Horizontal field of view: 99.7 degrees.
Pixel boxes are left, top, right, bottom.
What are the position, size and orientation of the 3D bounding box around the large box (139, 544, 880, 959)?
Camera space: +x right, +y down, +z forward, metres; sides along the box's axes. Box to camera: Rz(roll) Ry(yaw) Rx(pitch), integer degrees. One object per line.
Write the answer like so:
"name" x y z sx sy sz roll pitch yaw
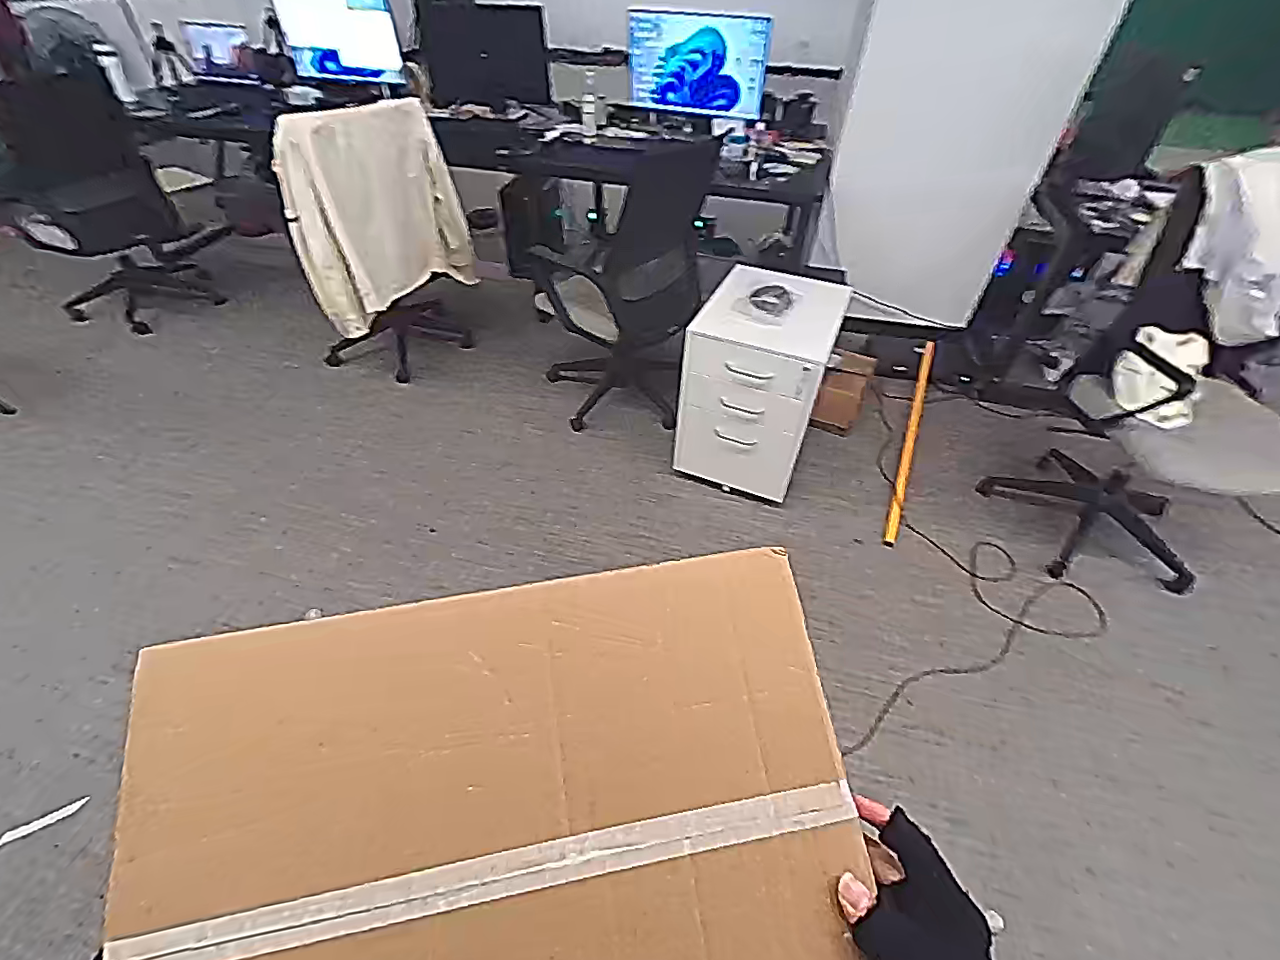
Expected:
"large box" -0.085 0.268 0.454 0.408 0.320 0.320 -9 73 -7
